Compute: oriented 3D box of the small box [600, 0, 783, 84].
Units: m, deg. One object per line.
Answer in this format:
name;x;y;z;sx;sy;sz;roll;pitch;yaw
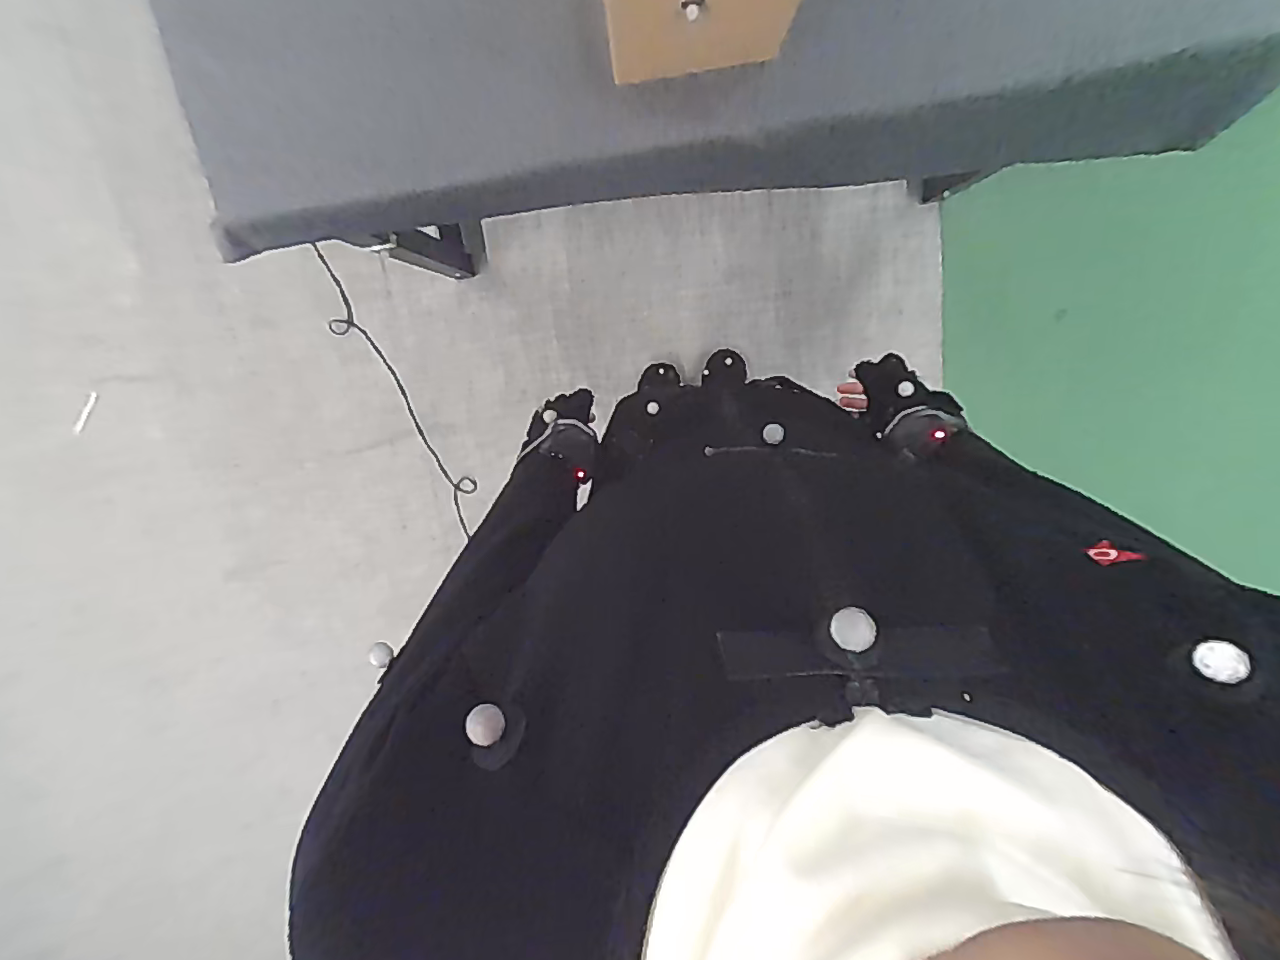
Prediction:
small box;0.043;-0.508;0.506;0.179;0.176;0.168;-7;104;2
